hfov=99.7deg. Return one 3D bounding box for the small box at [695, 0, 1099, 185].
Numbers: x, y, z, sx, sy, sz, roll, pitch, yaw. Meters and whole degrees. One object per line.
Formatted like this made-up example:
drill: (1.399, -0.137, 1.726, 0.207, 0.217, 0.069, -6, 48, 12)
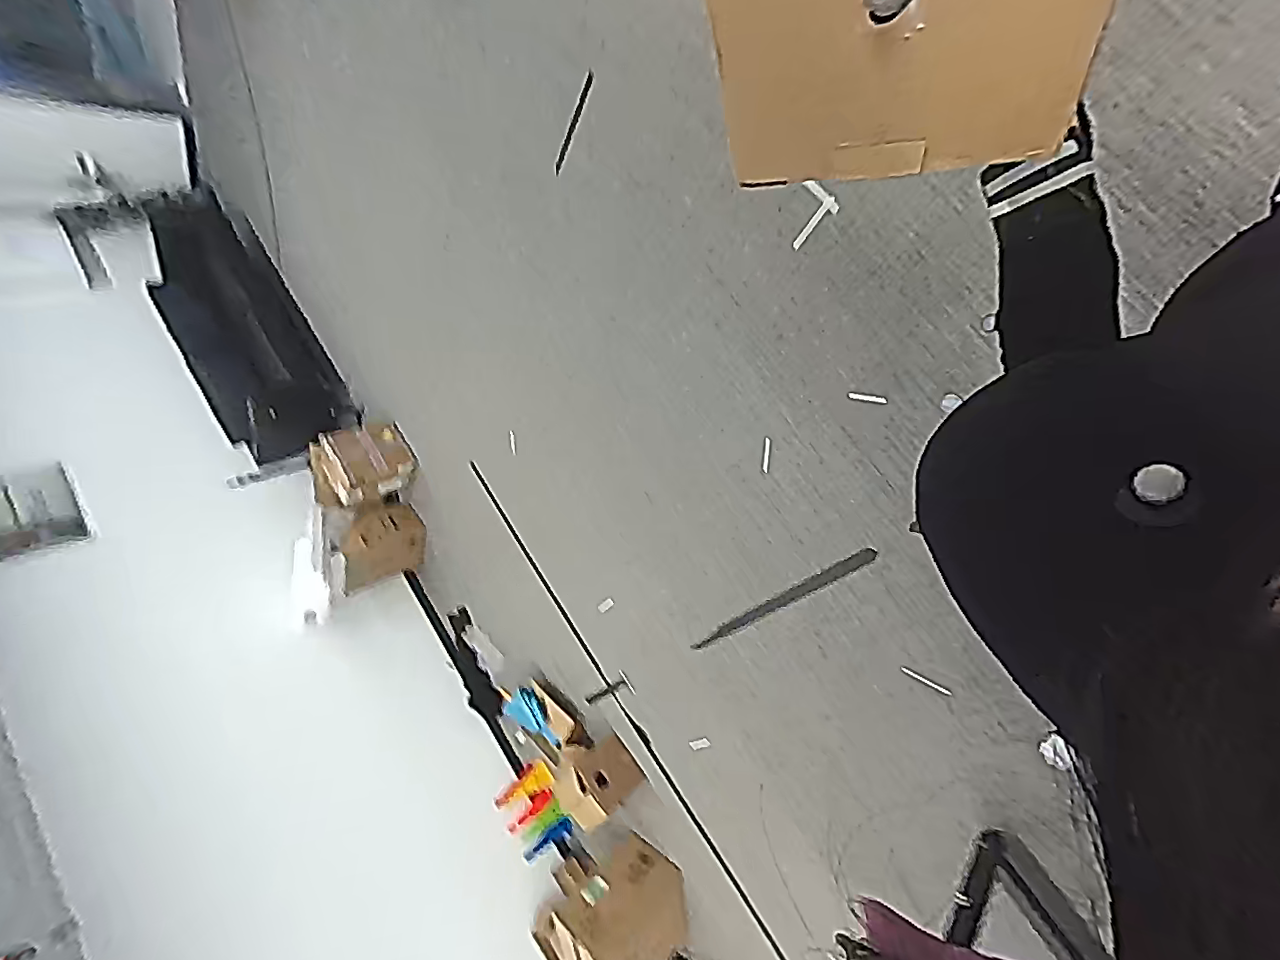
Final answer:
small box: (0.122, -0.278, 0.253, 0.168, 0.179, 0.176, 10, 157, 25)
